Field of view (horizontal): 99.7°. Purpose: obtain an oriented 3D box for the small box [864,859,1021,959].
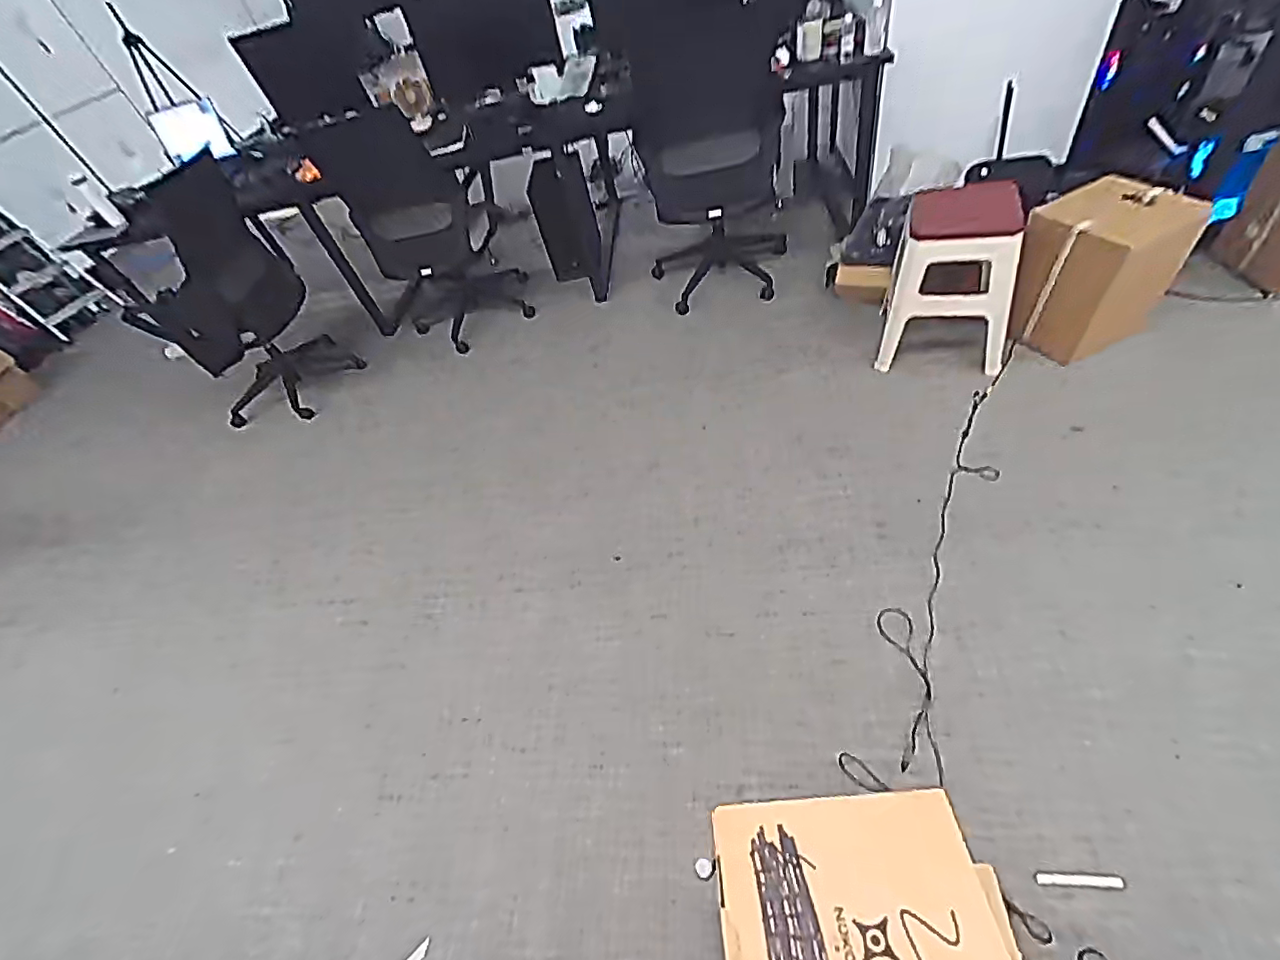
[{"bbox_3d":[0.431,0.665,0.780,0.168,0.176,0.179,-6,48,11],"label":"small box"}]
